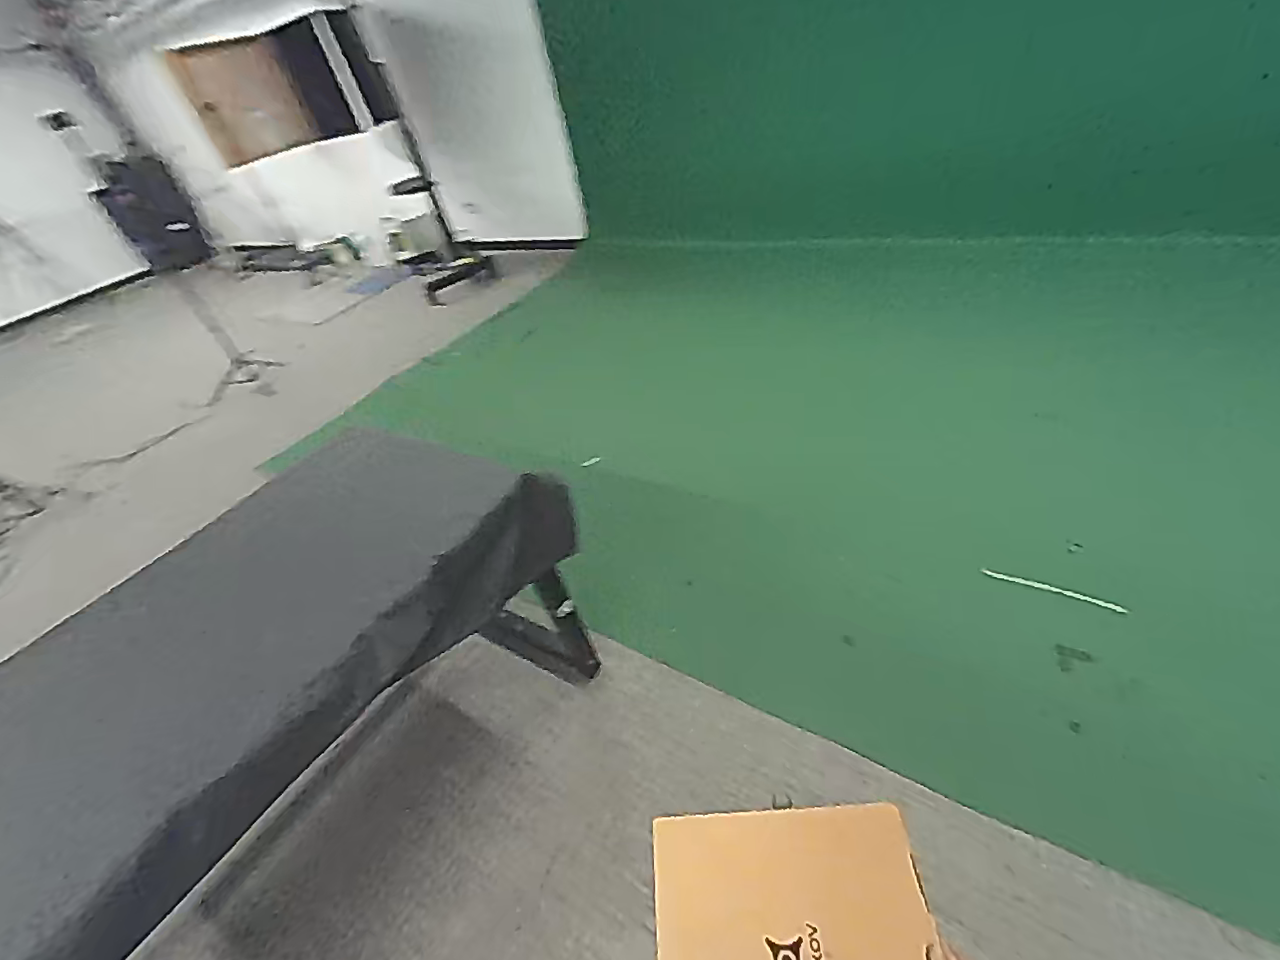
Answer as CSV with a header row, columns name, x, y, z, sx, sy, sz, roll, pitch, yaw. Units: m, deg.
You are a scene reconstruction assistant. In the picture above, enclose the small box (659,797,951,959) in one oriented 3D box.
name,x,y,z,sx,sy,sz,roll,pitch,yaw
small box,0.117,0.343,0.390,0.179,0.176,0.168,-9,48,10
